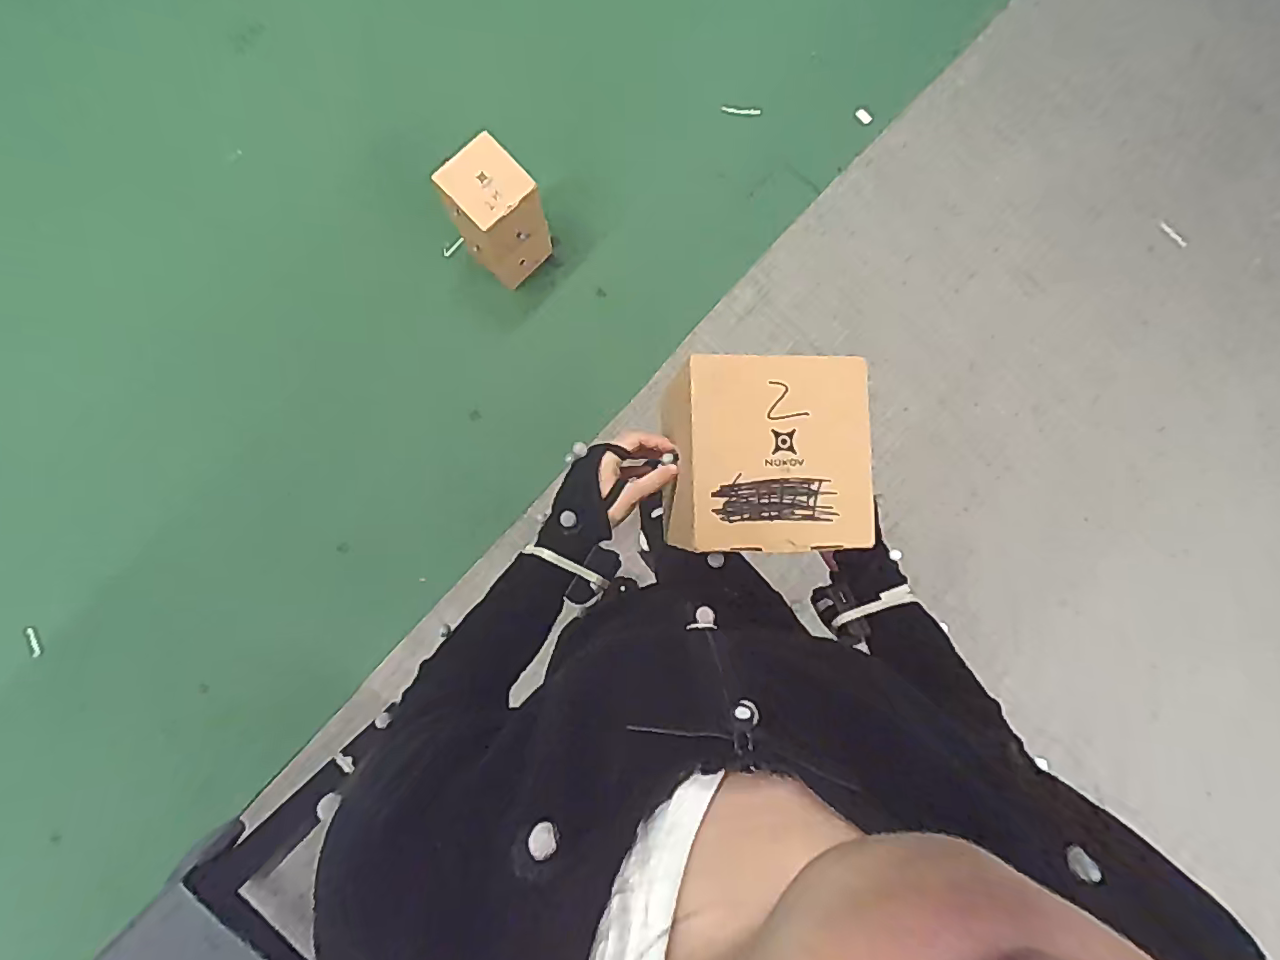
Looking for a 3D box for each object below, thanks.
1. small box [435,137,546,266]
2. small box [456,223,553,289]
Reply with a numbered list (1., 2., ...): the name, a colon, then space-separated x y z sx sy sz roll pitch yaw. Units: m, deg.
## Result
1. small box: -0.347 -0.652 1.287 0.168 0.176 0.179 -44 89 -5
2. small box: -0.354 -0.643 1.453 0.179 0.176 0.168 43 85 1
